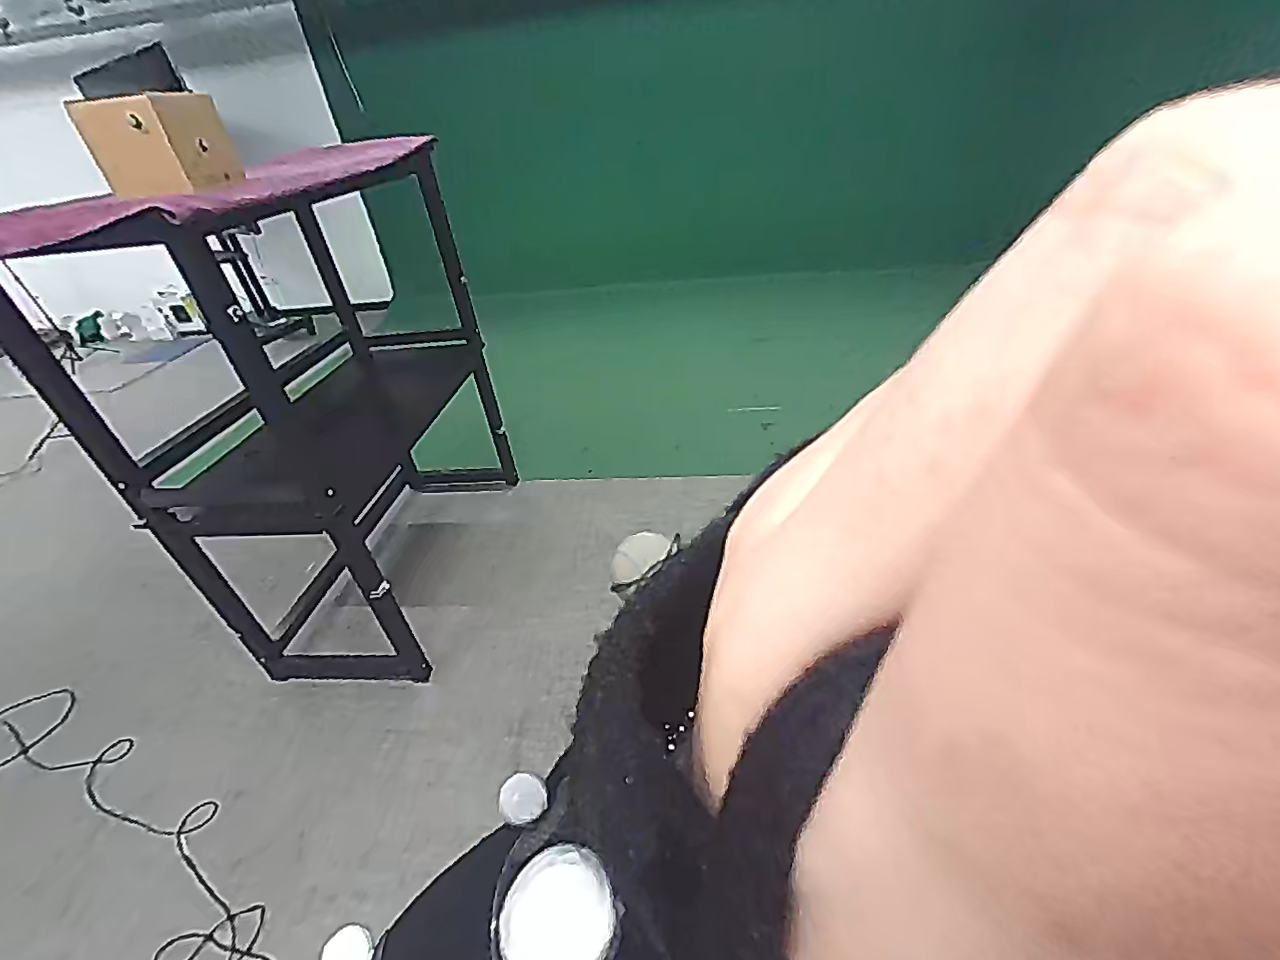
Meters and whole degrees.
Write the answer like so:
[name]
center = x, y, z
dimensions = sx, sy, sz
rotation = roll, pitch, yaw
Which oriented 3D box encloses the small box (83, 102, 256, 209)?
[small box]
center = -0.950, -0.670, 1.115
dimensions = 0.179, 0.176, 0.168
rotation = -2, 34, 6
